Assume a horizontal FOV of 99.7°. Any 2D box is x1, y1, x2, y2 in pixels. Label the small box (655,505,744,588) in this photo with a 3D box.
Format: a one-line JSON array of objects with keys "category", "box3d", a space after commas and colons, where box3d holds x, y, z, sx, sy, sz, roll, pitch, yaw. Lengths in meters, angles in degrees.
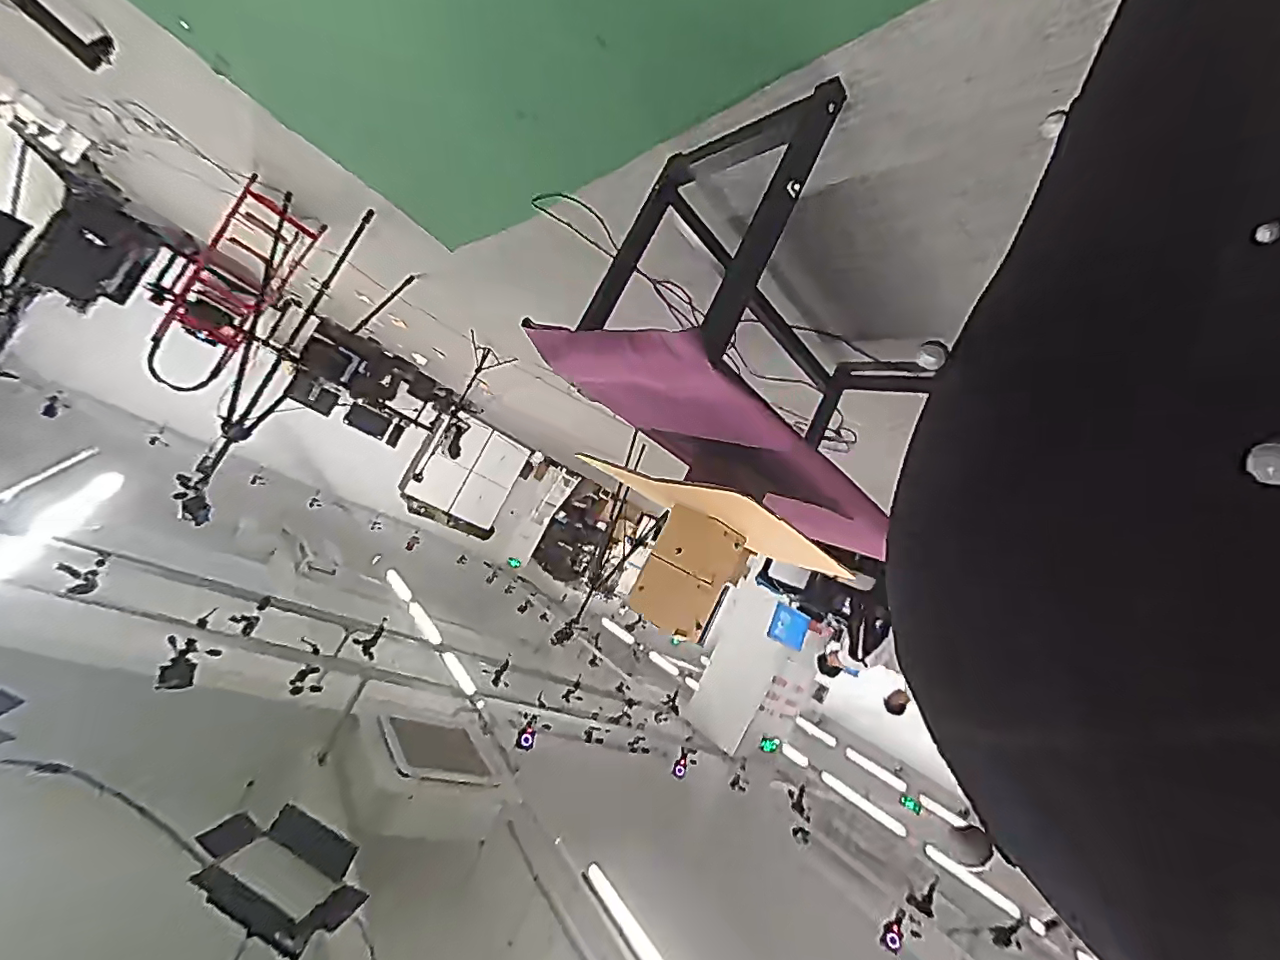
[{"category": "small box", "box3d": [0.182, 0.189, 1.583, 0.168, 0.176, 0.179, 32, 173, -39]}]
